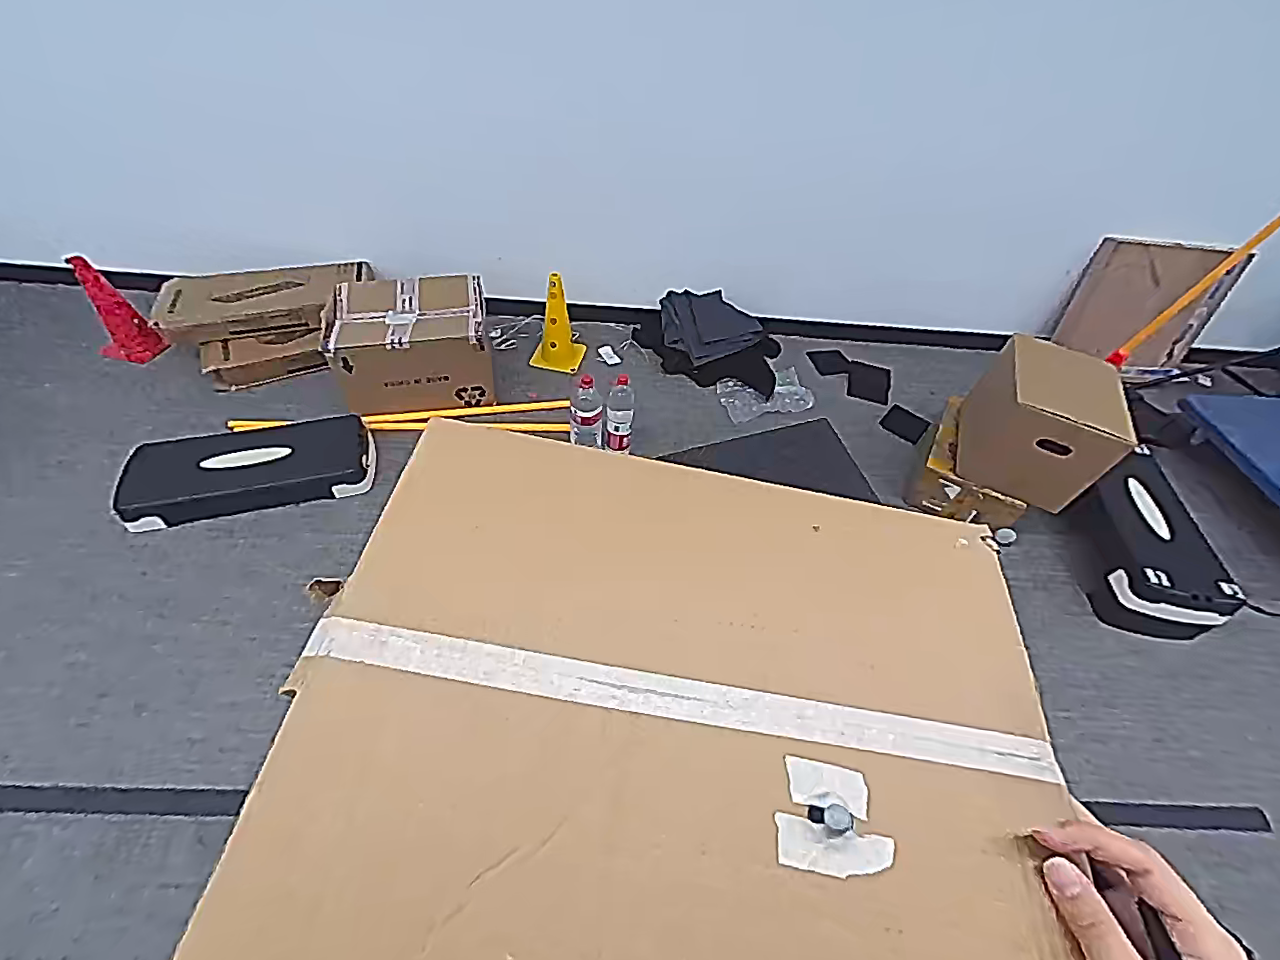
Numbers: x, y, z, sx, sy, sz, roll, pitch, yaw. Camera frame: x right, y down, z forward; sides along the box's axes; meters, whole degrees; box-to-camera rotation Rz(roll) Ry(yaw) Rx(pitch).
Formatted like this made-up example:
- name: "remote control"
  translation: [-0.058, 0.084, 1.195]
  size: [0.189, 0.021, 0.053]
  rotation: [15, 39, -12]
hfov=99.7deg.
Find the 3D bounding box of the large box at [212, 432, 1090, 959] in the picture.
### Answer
- name: "large box"
  translation: [0.012, 0.208, 0.425]
  size: [0.408, 0.320, 0.320]
  rotation: [12, 55, -3]
